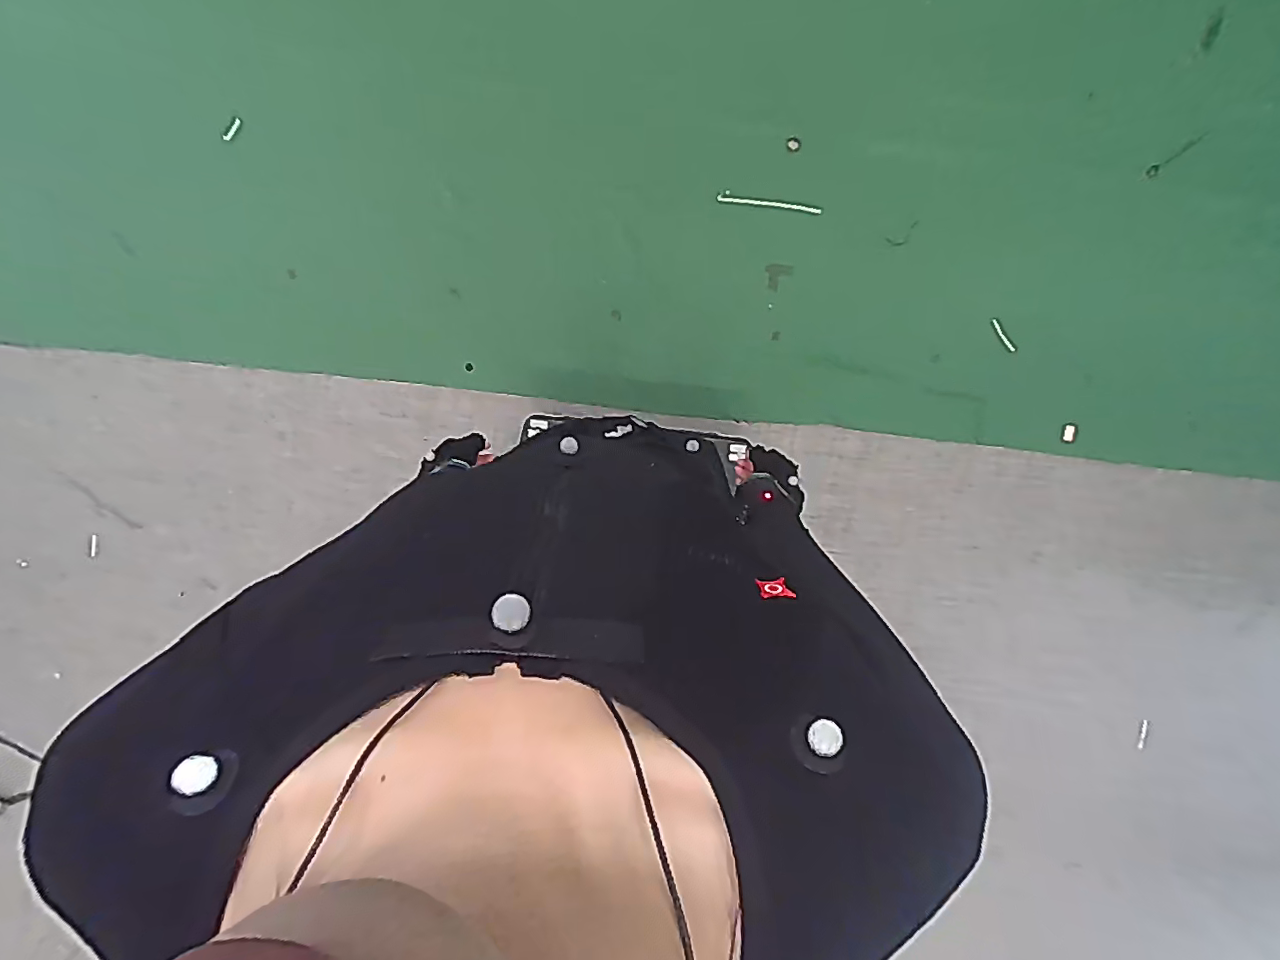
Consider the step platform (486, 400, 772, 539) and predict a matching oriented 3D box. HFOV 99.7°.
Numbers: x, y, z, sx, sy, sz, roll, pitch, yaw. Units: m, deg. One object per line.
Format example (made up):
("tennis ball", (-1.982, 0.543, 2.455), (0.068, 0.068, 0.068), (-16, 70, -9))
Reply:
("step platform", (-0.027, -0.031, 1.384), (0.684, 0.204, 0.286), (6, 96, 0))
